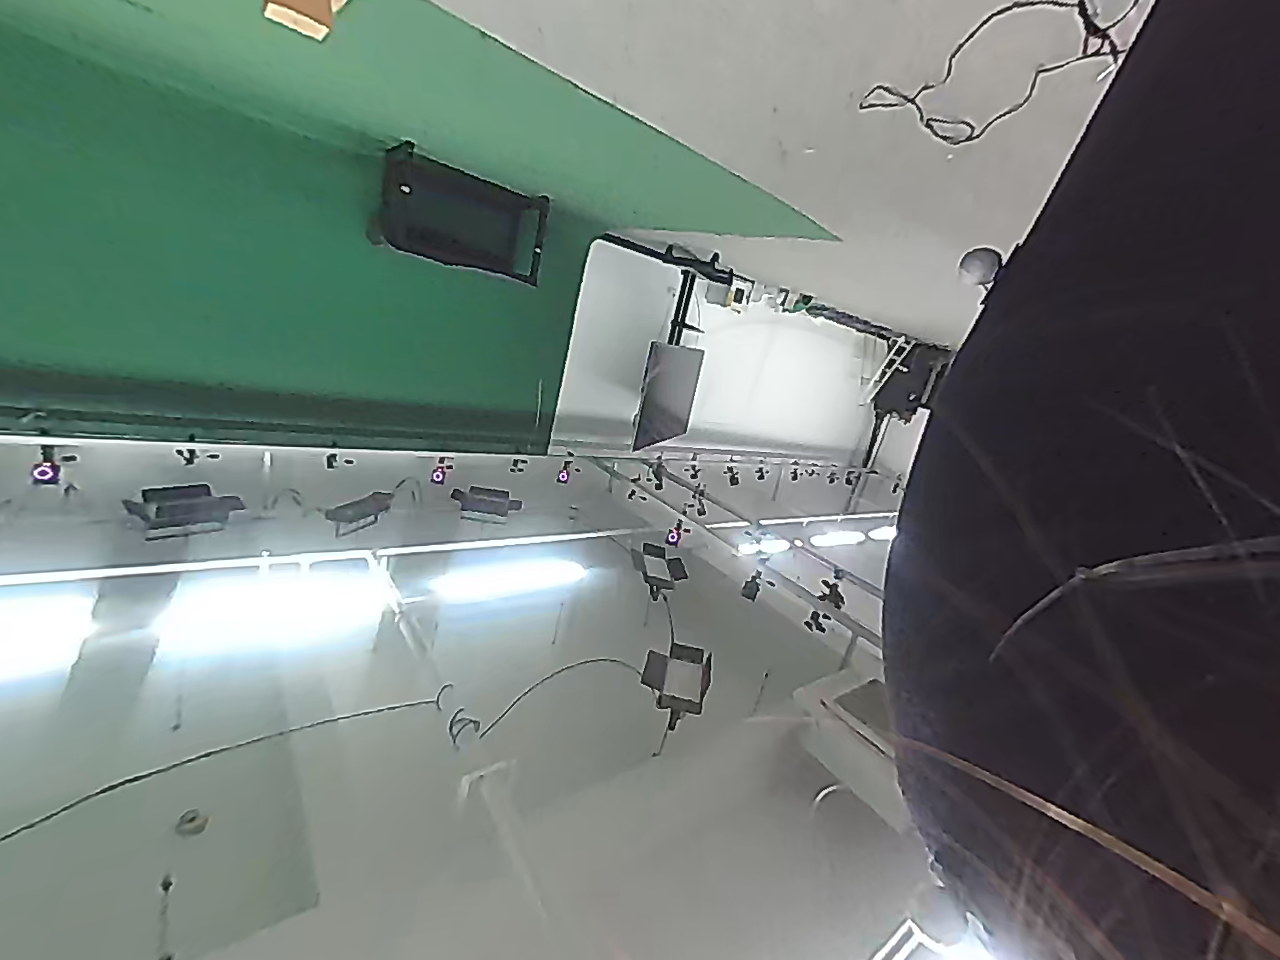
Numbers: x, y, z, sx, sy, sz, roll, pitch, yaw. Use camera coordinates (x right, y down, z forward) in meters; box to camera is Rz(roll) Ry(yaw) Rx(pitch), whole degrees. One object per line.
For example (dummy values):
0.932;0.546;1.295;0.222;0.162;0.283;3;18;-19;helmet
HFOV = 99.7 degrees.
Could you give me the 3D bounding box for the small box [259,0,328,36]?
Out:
-1.099;-1.567;1.718;0.168;0.176;0.179;-2;-157;-41;small box
